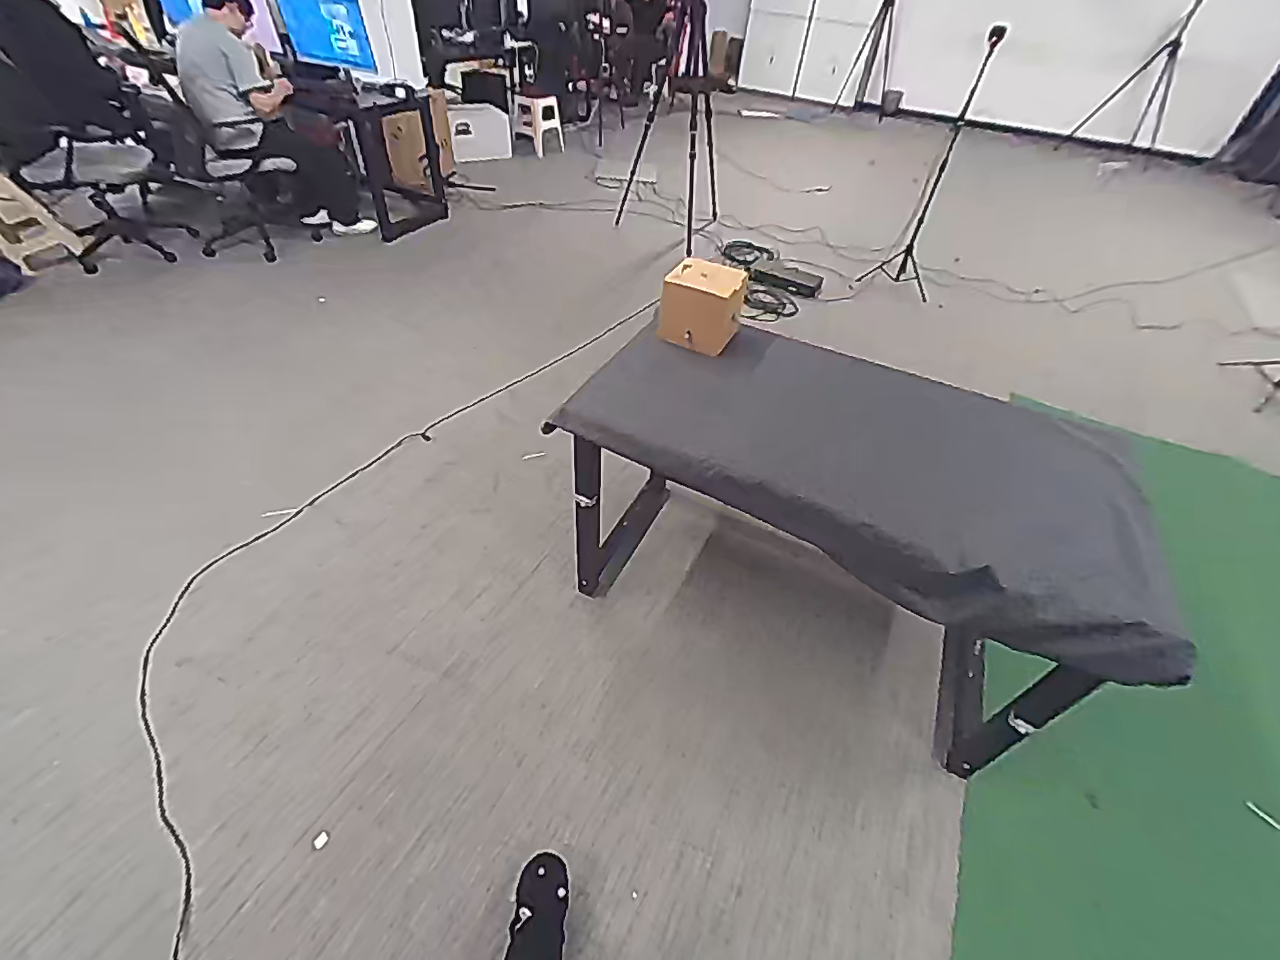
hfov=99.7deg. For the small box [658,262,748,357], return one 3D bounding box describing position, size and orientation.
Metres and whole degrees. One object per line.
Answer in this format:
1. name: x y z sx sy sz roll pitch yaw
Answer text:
1. small box: 0.163 -0.448 1.433 0.179 0.176 0.168 23 47 15
